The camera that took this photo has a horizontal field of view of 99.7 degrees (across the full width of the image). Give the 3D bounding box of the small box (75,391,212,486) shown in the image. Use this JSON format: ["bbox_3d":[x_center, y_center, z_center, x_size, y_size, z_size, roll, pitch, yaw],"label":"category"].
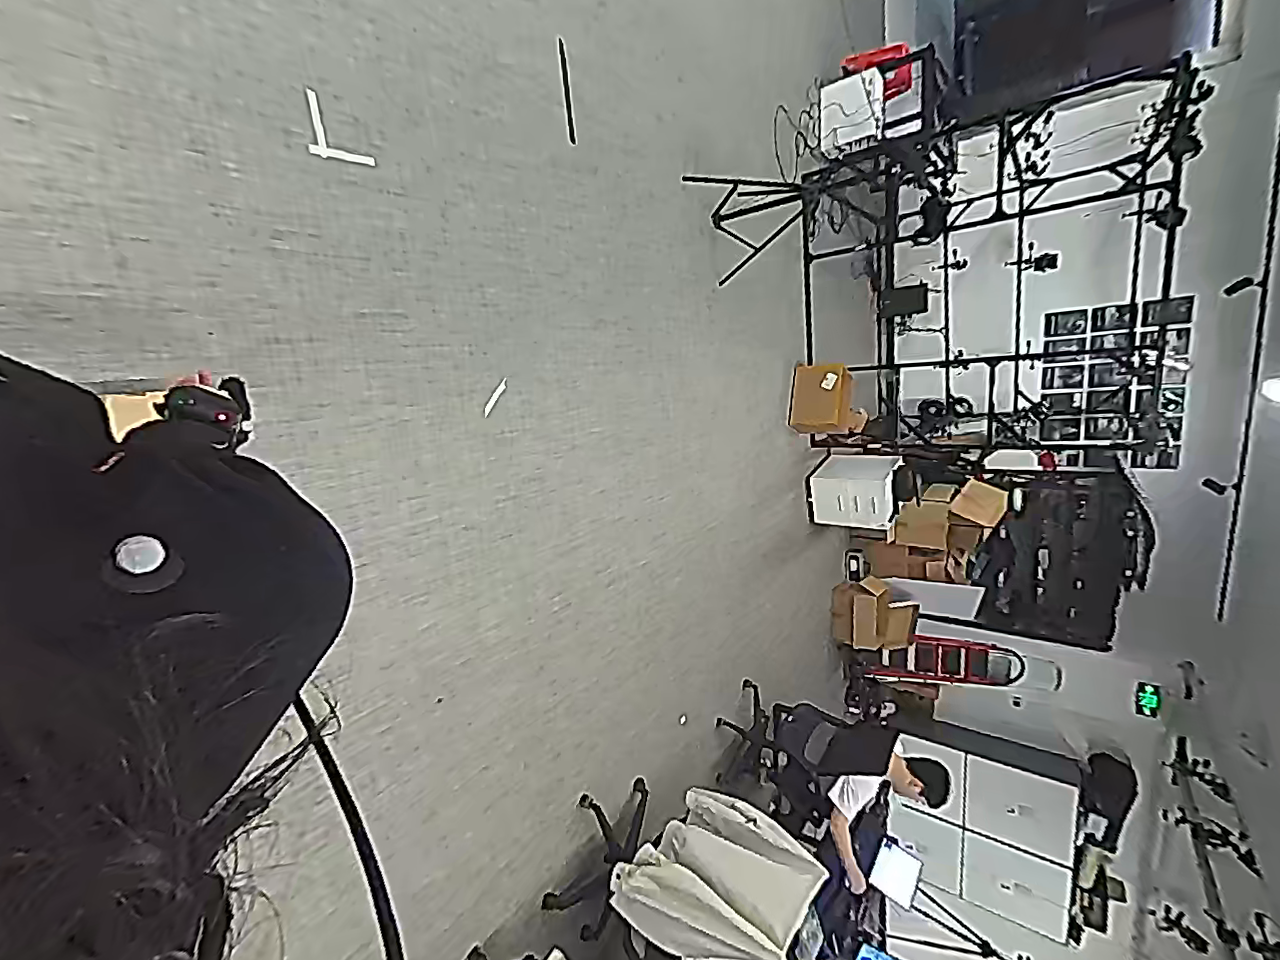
[{"bbox_3d":[-1.015,-0.088,1.106,0.168,0.176,0.179,-14,105,-51],"label":"small box"}]
